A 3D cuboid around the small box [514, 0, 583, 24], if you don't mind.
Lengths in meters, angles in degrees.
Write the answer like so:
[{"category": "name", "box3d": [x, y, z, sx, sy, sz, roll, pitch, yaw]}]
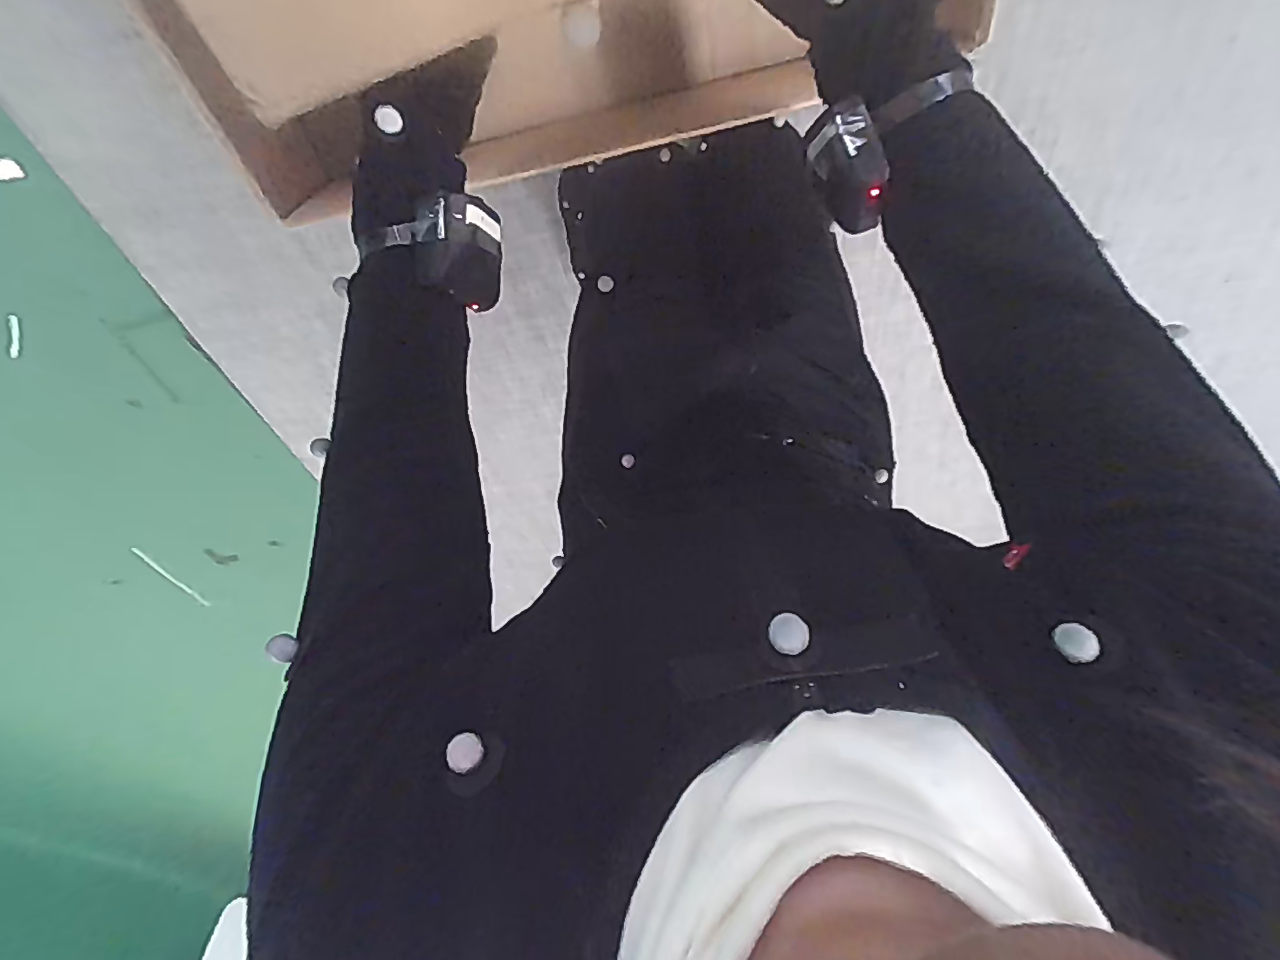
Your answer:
[{"category": "small box", "box3d": [-0.062, -0.439, 0.361, 0.168, 0.176, 0.179, -16, 131, 11]}]
